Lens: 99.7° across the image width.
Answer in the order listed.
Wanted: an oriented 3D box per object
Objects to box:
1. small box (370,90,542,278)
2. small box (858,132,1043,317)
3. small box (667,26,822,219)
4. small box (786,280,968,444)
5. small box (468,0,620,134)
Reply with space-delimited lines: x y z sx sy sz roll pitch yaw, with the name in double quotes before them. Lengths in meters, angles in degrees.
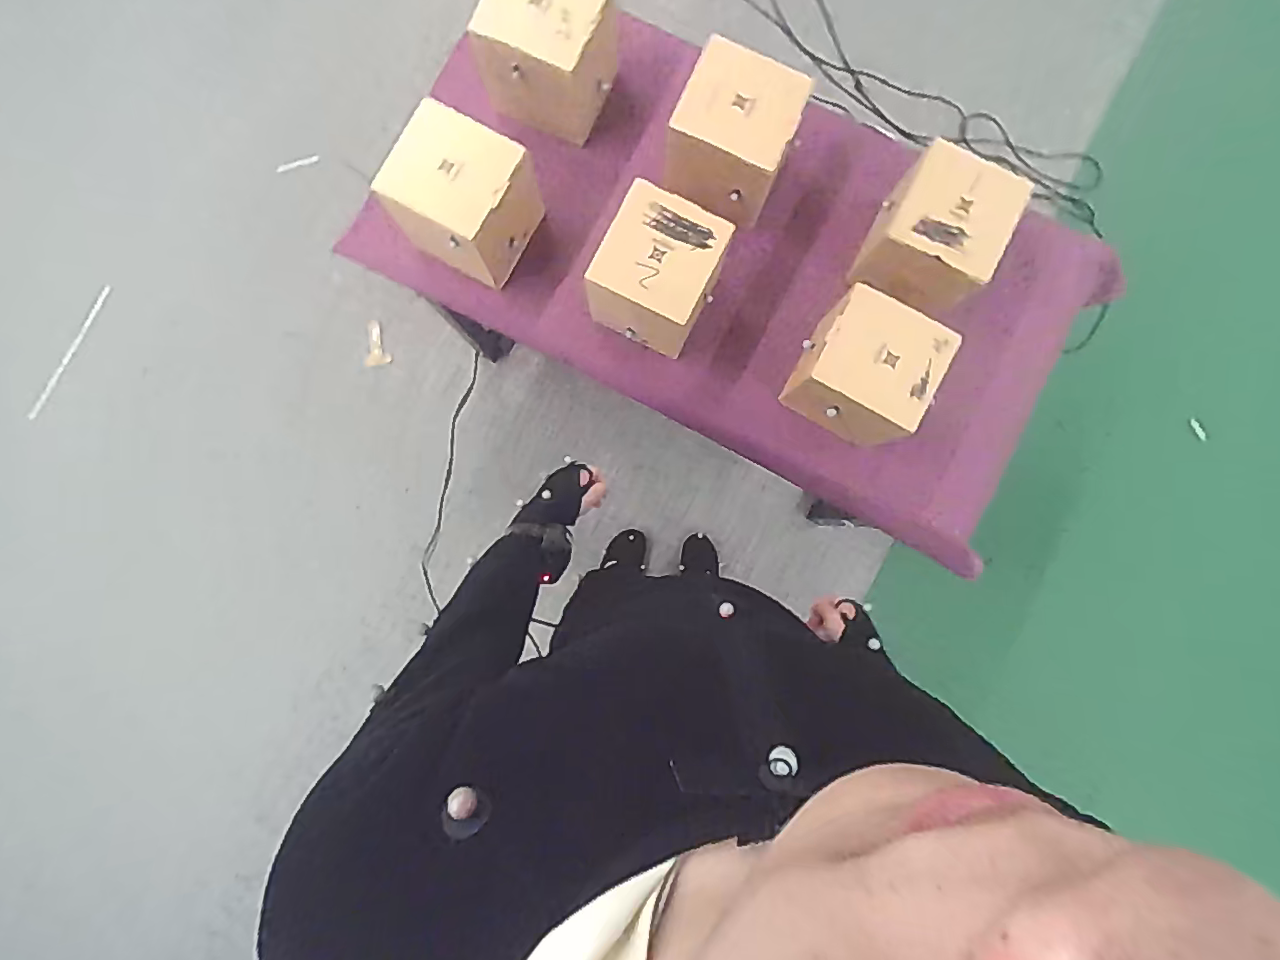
"small box" -0.279 -0.456 0.863 0.179 0.176 0.168 28 86 1
"small box" 0.475 -0.390 0.861 0.168 0.176 0.179 28 86 2
"small box" 0.157 -0.557 0.872 0.179 0.176 0.168 26 87 2
"small box" 0.354 -0.171 0.847 0.179 0.176 0.168 30 86 3
"small box" -0.144 -0.712 0.878 0.179 0.176 0.168 25 88 1
